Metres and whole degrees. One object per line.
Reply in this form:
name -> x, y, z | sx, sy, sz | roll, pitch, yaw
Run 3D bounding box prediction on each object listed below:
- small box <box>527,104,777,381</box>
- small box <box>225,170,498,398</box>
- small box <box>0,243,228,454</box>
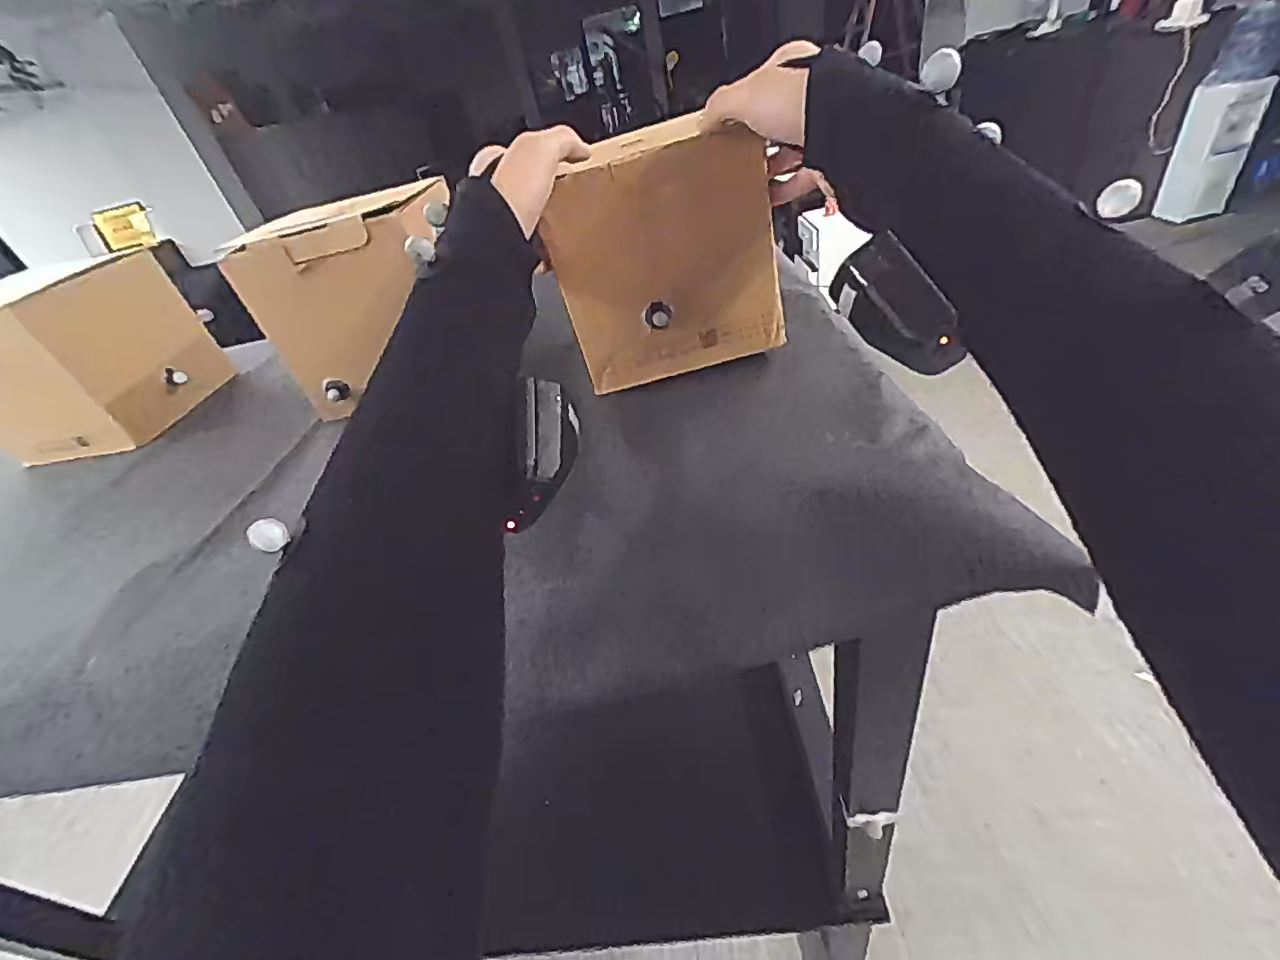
small box -> 0.014, -0.210, 0.478 | 0.168, 0.176, 0.179 | -14, 35, 5
small box -> -0.262, -0.199, 0.564 | 0.168, 0.176, 0.179 | -11, 37, 4
small box -> -0.632, -0.151, 0.624 | 0.168, 0.176, 0.179 | -7, 38, 9
